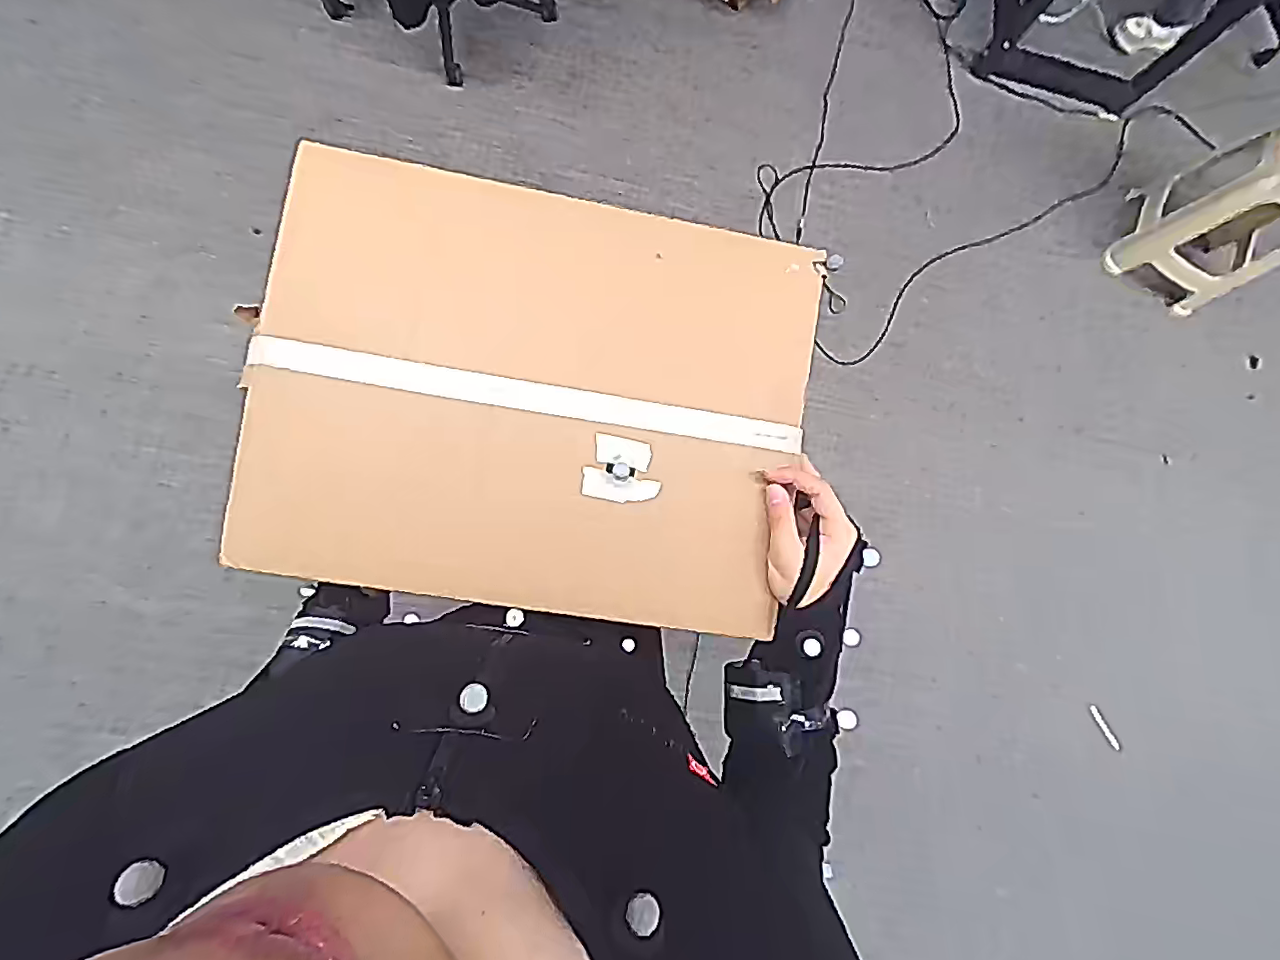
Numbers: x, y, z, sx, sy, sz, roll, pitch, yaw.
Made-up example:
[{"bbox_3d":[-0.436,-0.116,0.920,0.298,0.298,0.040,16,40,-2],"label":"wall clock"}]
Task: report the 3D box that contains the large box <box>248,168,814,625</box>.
[{"bbox_3d":[-0.088,-0.053,0.563,0.408,0.320,0.320,8,88,-7],"label":"large box"}]
